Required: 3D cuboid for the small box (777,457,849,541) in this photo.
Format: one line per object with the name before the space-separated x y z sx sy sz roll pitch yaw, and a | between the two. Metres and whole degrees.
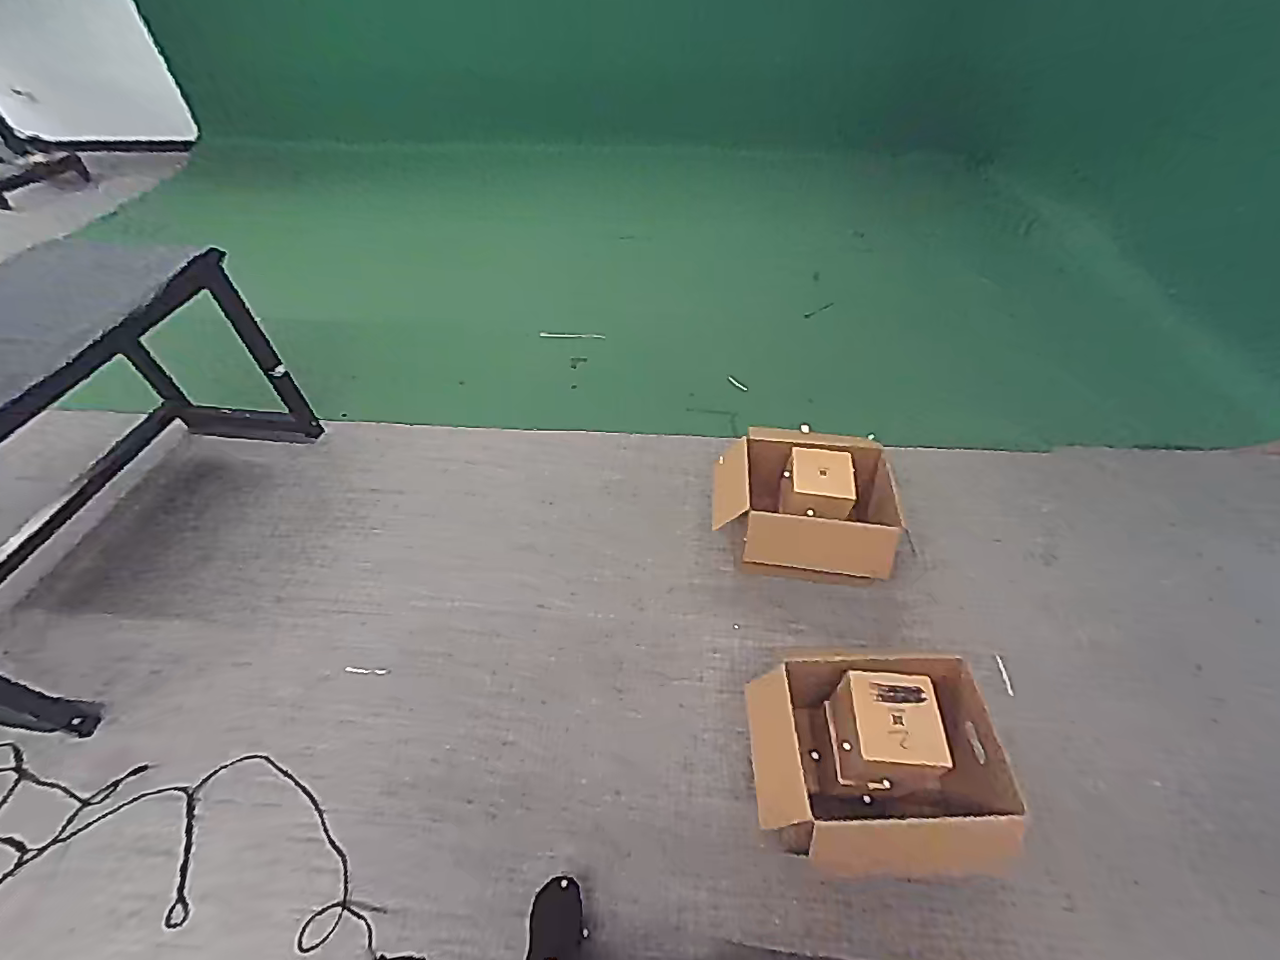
small box | 0.501 0.060 1.587 0.168 0.176 0.179 7 48 6
